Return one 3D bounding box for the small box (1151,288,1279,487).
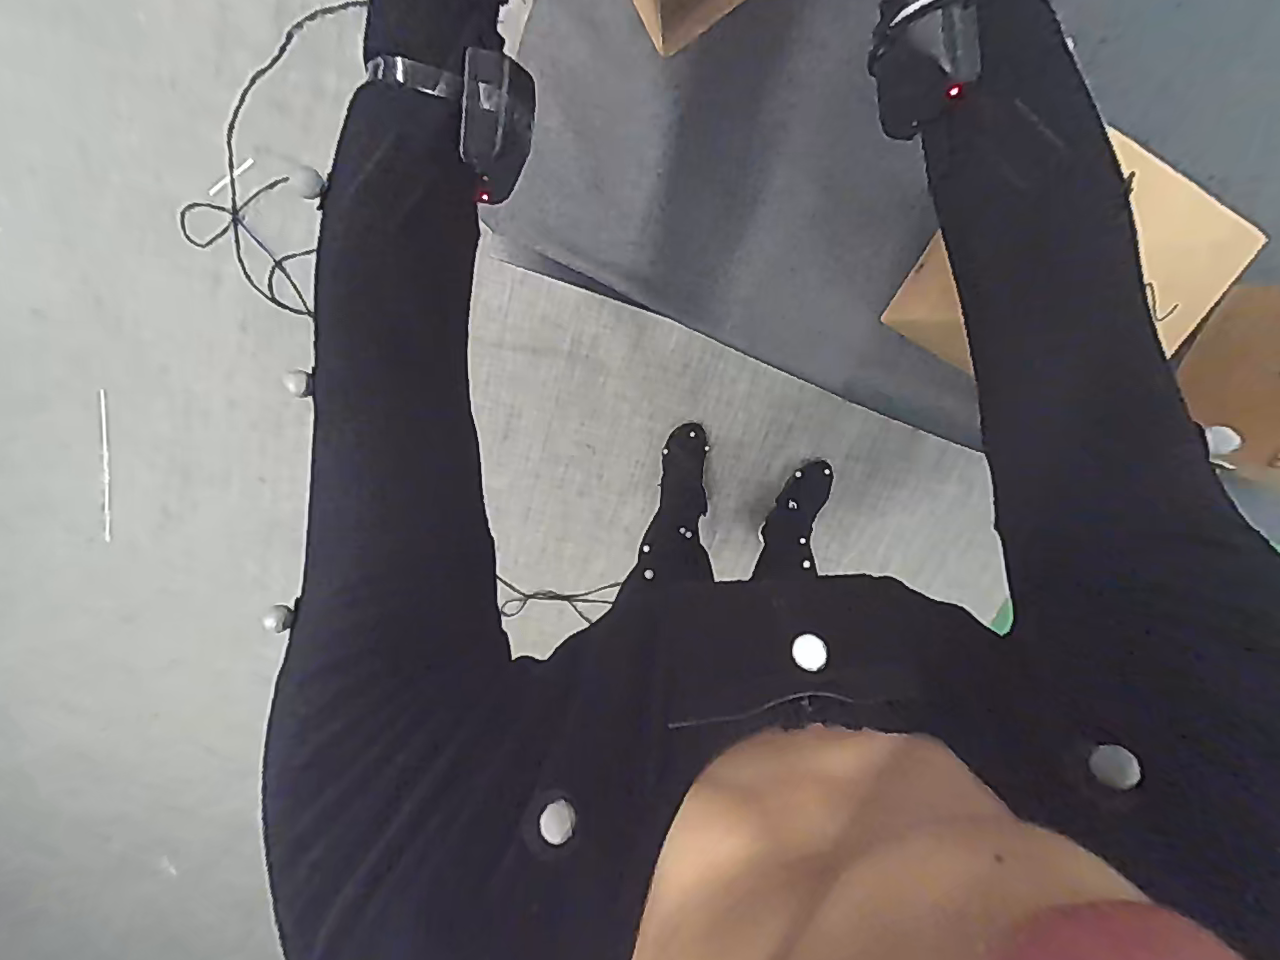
[{"bbox_3d":[0.672,-0.080,0.524,0.168,0.176,0.179,19,107,-1],"label":"small box"}]

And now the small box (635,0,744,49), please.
[{"bbox_3d":[0.043,-0.512,0.434,0.168,0.176,0.179,-30,103,12],"label":"small box"}]
